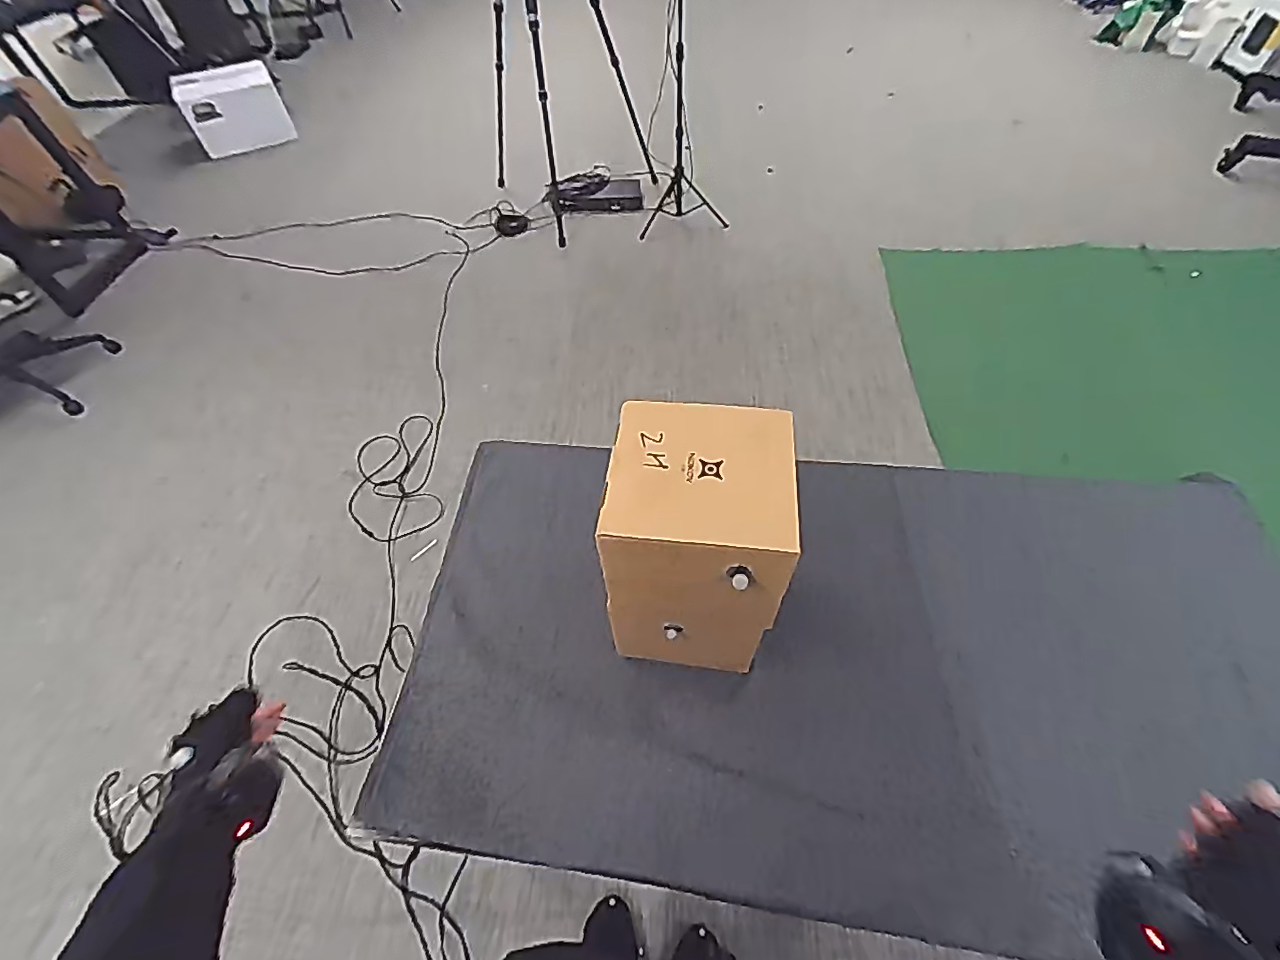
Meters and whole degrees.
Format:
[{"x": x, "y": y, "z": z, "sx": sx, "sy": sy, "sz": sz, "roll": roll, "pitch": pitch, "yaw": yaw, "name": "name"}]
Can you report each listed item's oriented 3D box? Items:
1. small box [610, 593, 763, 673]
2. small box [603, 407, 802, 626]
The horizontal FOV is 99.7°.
[{"x": 0.065, "y": 0.140, "z": 0.715, "sx": 0.179, "sy": 0.176, "sz": 0.168, "roll": 7, "pitch": 53, "yaw": 6, "name": "small box"}, {"x": 0.065, "y": 0.044, "z": 0.581, "sx": 0.179, "sy": 0.176, "sz": 0.168, "roll": 5, "pitch": 52, "yaw": 6, "name": "small box"}]
